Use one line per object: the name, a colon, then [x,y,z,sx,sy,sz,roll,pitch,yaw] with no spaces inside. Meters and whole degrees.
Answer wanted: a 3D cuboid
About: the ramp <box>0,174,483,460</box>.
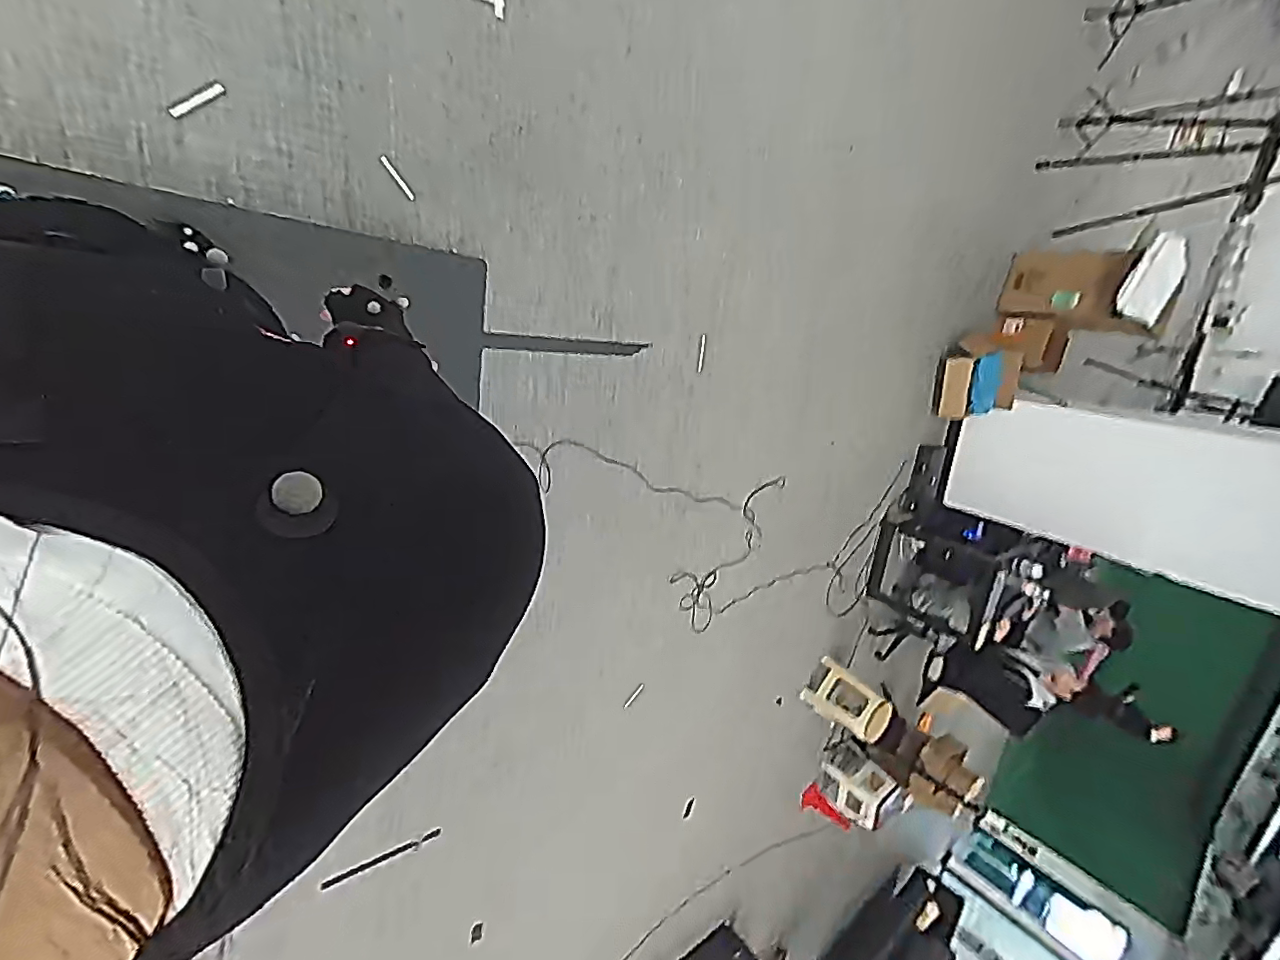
ramp: [-0.810,-0.340,1.274,0.991,0.206,0.509,-9,110,-37]
